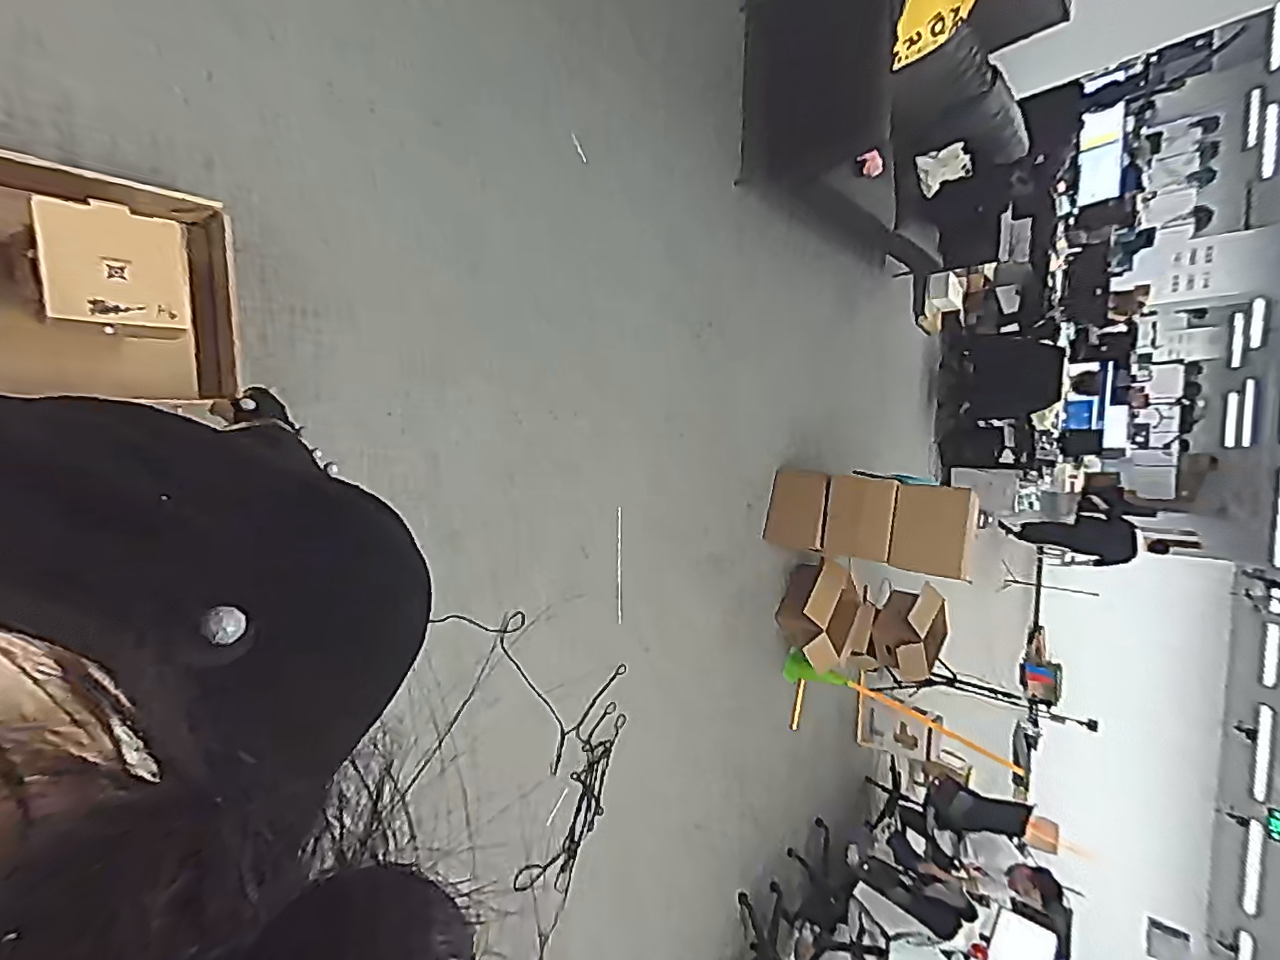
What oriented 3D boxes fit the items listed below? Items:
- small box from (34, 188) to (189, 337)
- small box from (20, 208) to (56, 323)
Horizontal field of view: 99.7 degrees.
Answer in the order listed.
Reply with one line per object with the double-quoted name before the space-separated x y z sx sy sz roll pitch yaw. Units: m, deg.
"small box" -0.868 -0.343 0.891 0.168 0.176 0.179 -7 98 -46
"small box" -0.991 -0.377 0.996 0.179 0.176 0.168 -12 104 -46
